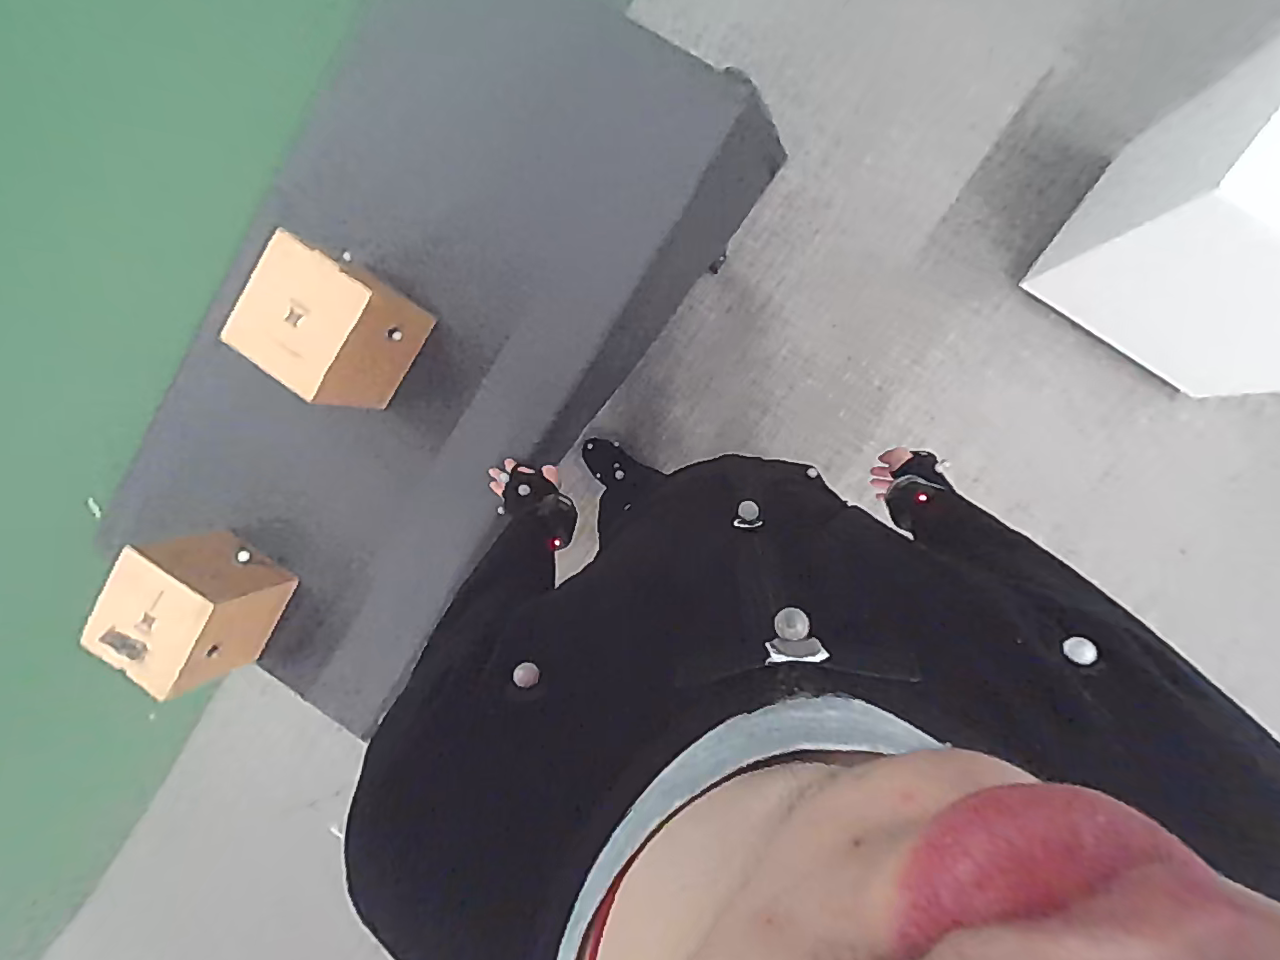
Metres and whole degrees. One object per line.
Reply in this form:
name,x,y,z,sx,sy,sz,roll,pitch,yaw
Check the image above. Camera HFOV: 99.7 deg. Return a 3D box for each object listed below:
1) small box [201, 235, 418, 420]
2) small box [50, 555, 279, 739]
small box,-0.447,-0.200,0.764,0.168,0.176,0.179,33,97,4
small box,-0.695,0.236,0.812,0.168,0.176,0.179,30,95,2
